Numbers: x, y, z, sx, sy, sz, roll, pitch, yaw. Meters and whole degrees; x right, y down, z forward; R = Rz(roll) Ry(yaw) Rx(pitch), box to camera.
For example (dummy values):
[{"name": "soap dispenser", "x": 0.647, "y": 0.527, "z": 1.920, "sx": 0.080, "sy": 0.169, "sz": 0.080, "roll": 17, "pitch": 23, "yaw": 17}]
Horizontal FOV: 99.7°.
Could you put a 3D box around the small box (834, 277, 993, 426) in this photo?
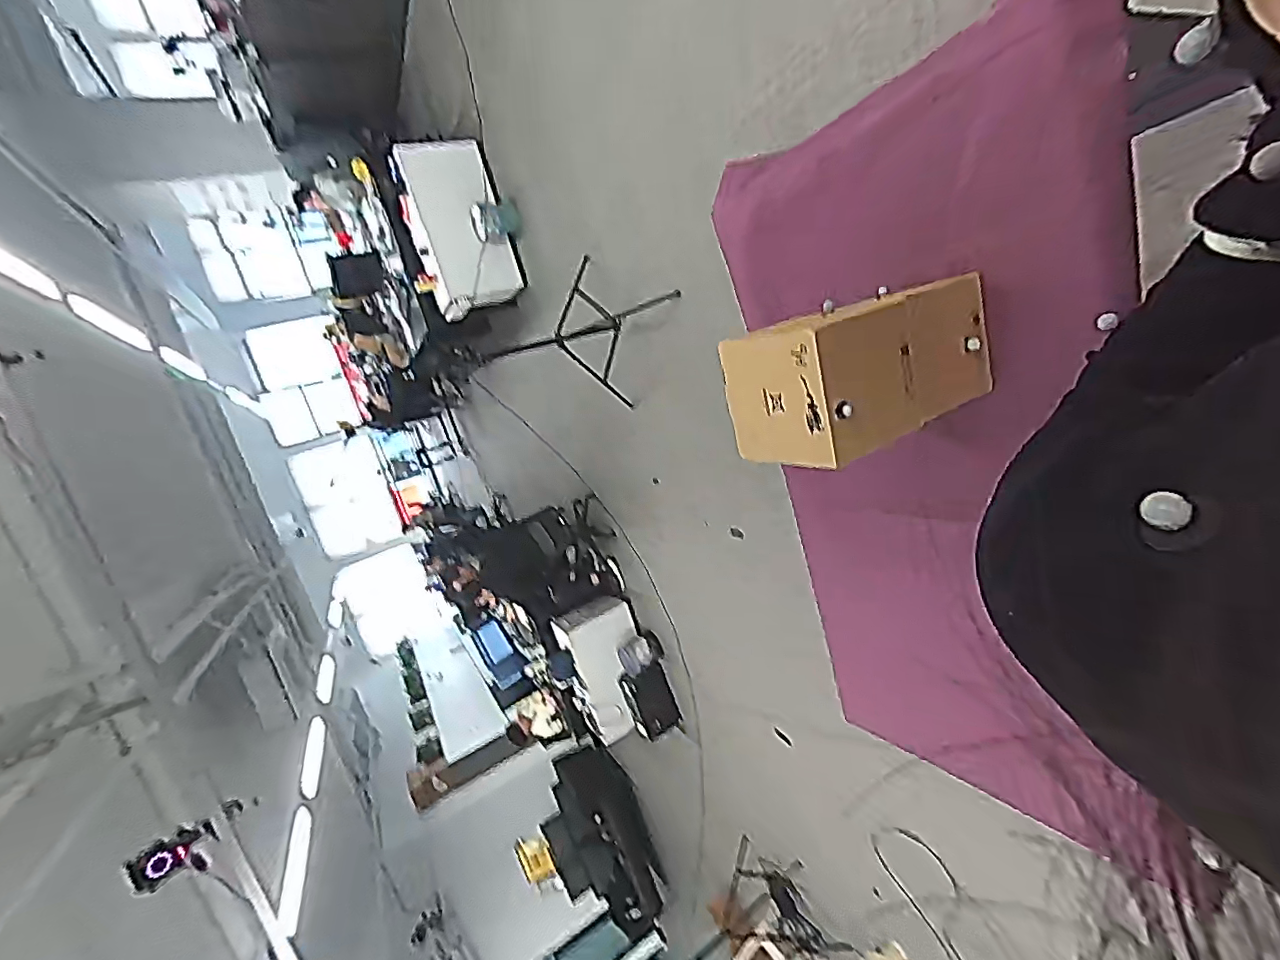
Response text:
[{"name": "small box", "x": 0.371, "y": -0.181, "z": 0.787, "sx": 0.179, "sy": 0.176, "sz": 0.168, "roll": 9, "pitch": 118, "yaw": 61}]

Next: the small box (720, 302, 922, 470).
[{"name": "small box", "x": 0.235, "y": -0.125, "z": 0.713, "sx": 0.179, "sy": 0.176, "sz": 0.168, "roll": 14, "pitch": 123, "yaw": 61}]
